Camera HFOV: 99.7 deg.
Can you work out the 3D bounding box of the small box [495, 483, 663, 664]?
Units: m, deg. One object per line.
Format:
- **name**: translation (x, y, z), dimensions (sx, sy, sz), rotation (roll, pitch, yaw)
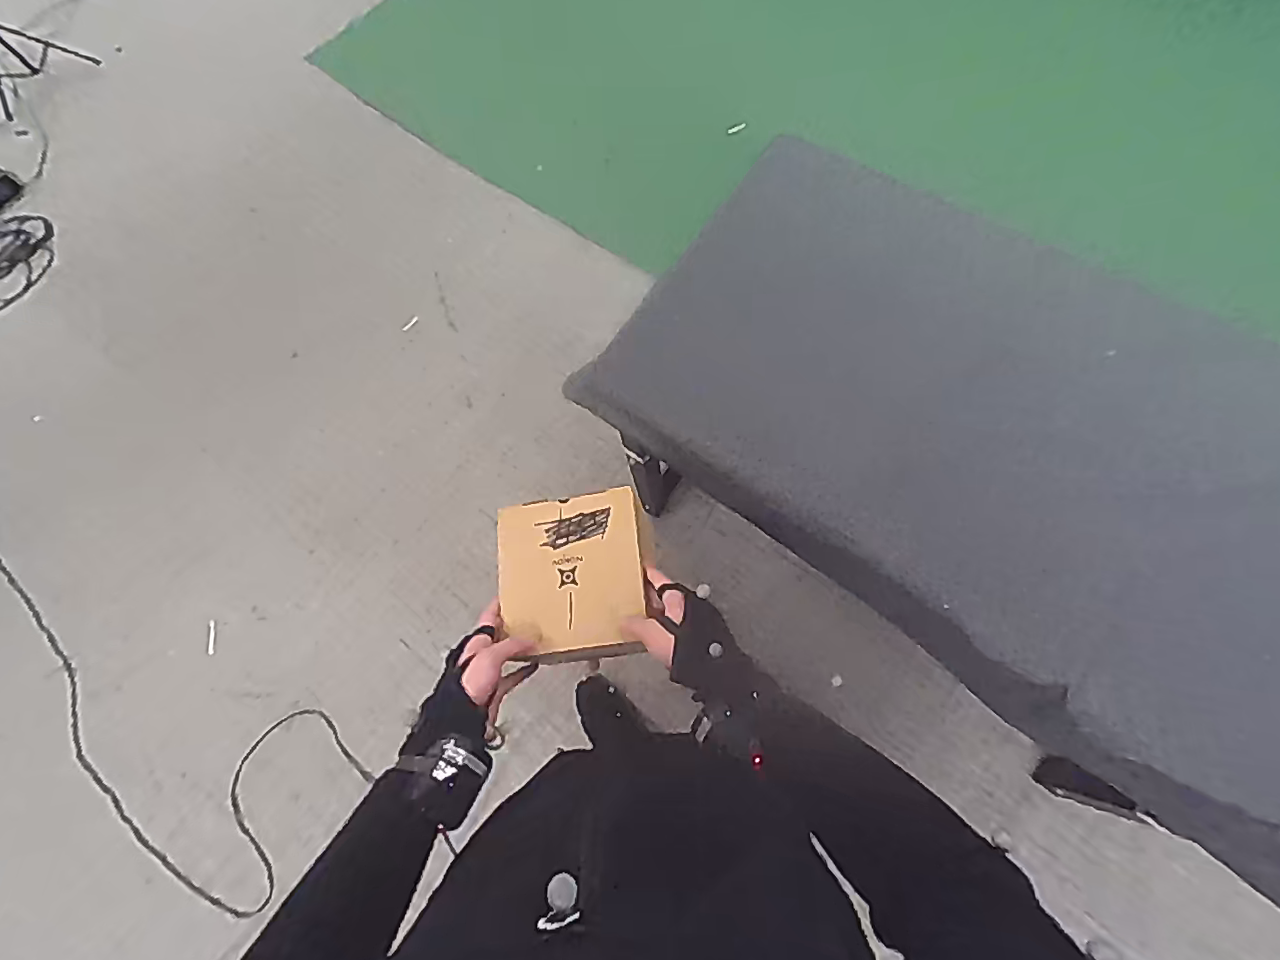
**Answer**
- **small box**: translation (-0.068, 0.123, 0.663), dimensions (0.168, 0.176, 0.179), rotation (-9, 68, 6)
